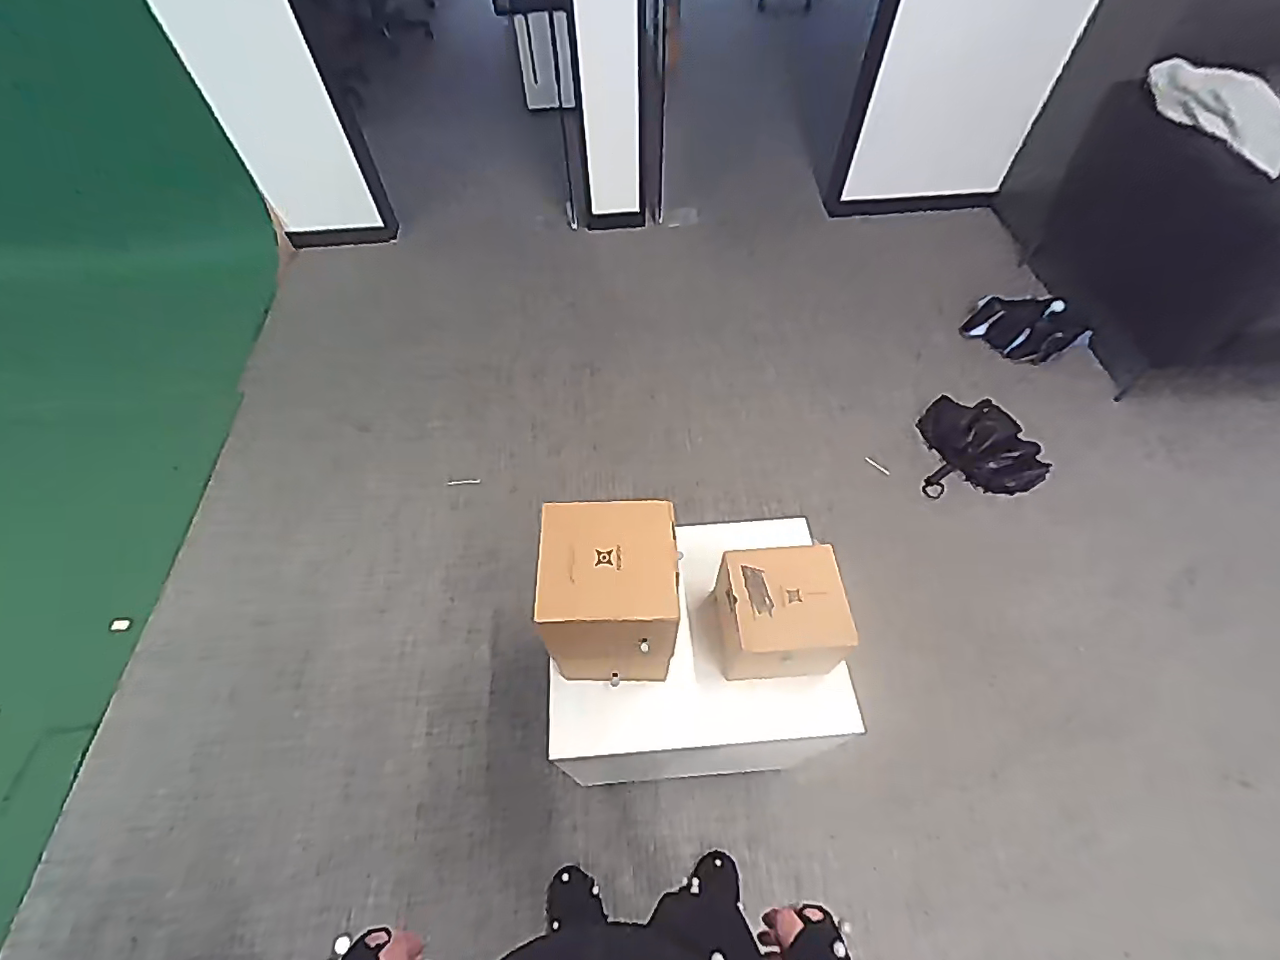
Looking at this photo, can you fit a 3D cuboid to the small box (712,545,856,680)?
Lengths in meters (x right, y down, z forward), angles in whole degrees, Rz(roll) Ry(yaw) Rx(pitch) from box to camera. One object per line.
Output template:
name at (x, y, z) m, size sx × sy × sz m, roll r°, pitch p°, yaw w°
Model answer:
small box at (0.219, 0.220, 0.882) m, size 0.179 × 0.176 × 0.168 m, roll -2°, pitch 56°, yaw -5°

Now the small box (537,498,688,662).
small box at (-0.038, 0.138, 0.727) m, size 0.179 × 0.176 × 0.168 m, roll -2°, pitch 55°, yaw -3°
